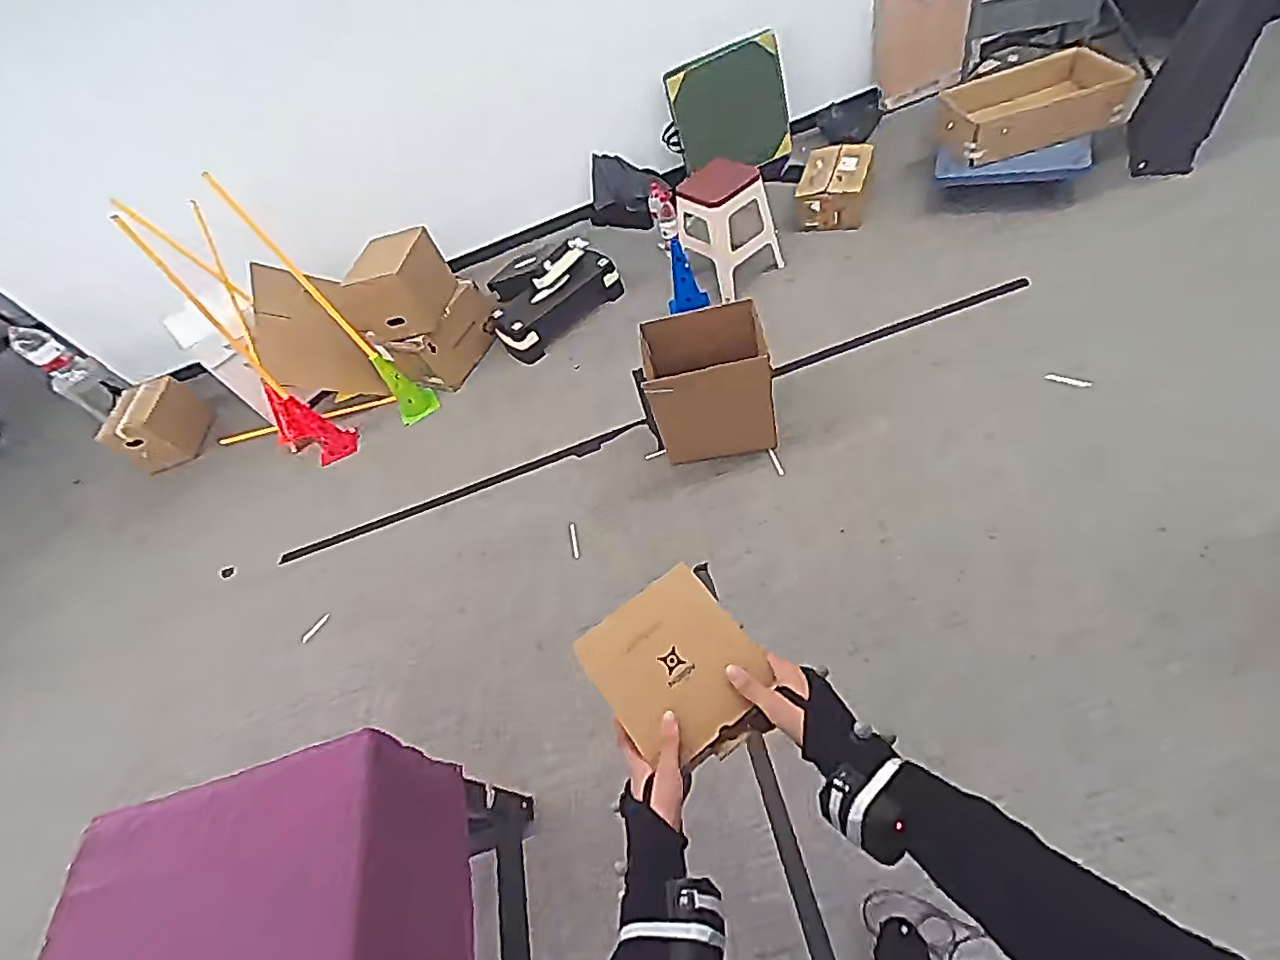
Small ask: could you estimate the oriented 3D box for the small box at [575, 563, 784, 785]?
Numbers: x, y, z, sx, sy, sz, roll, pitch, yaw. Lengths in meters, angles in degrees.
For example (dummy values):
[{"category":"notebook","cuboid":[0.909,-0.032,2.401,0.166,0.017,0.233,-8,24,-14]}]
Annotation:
[{"category":"small box","cuboid":[0.048,0.238,0.658,0.168,0.176,0.179,-34,62,-12]}]
